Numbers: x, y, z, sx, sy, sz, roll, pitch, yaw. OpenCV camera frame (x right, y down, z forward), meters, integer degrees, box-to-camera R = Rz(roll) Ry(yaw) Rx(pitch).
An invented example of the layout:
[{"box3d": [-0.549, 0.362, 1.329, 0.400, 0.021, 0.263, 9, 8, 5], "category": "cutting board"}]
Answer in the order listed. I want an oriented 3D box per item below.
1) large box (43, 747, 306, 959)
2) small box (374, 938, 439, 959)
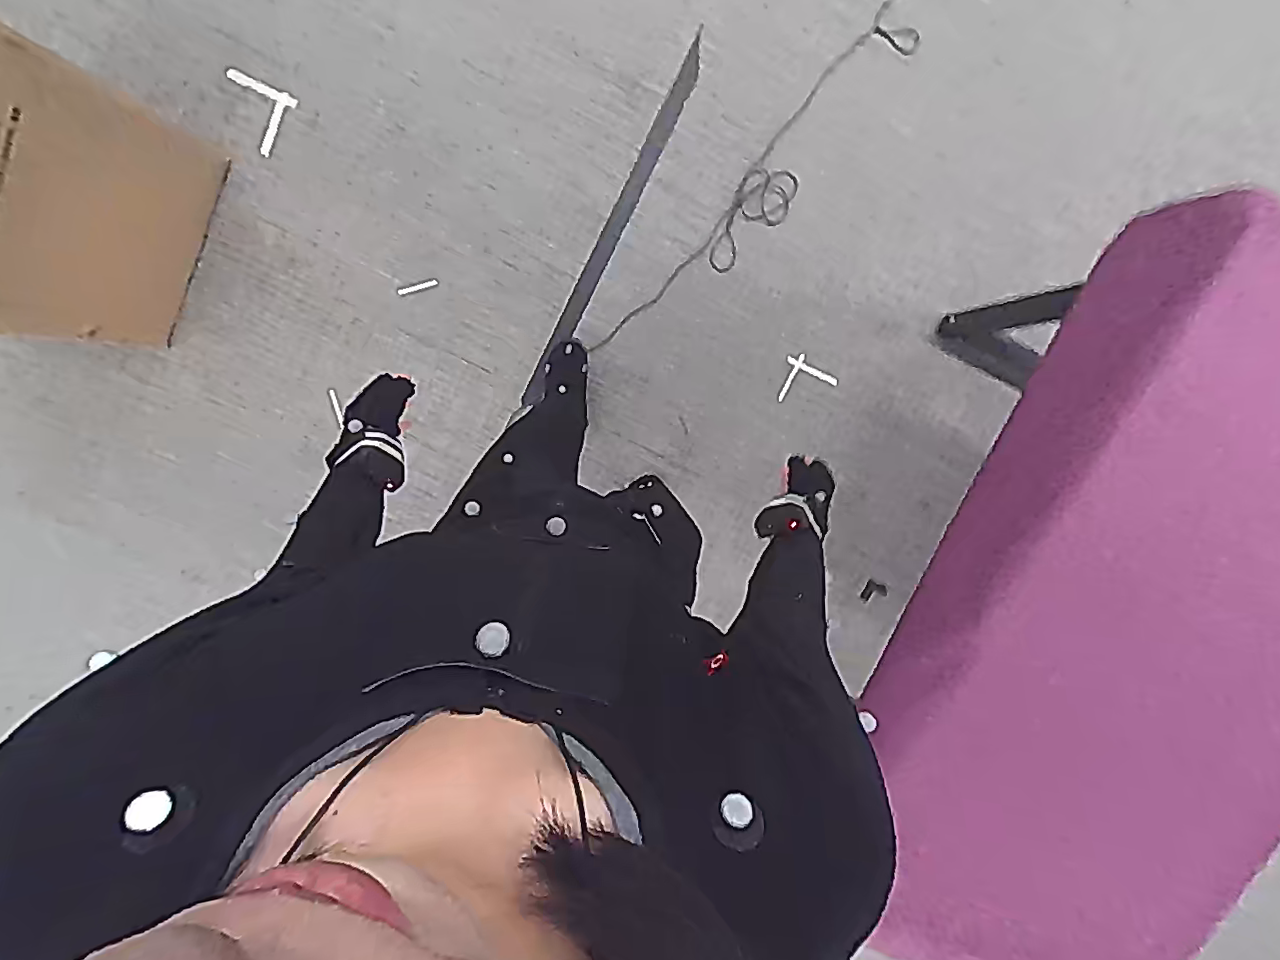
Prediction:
[{"box3d": [-1.235, 1.020, 1.479, 0.408, 0.320, 0.320, 27, 97, -4], "category": "large box"}, {"box3d": [-0.638, 1.343, 1.393, 0.168, 0.176, 0.179, 19, 99, -3], "category": "small box"}]
